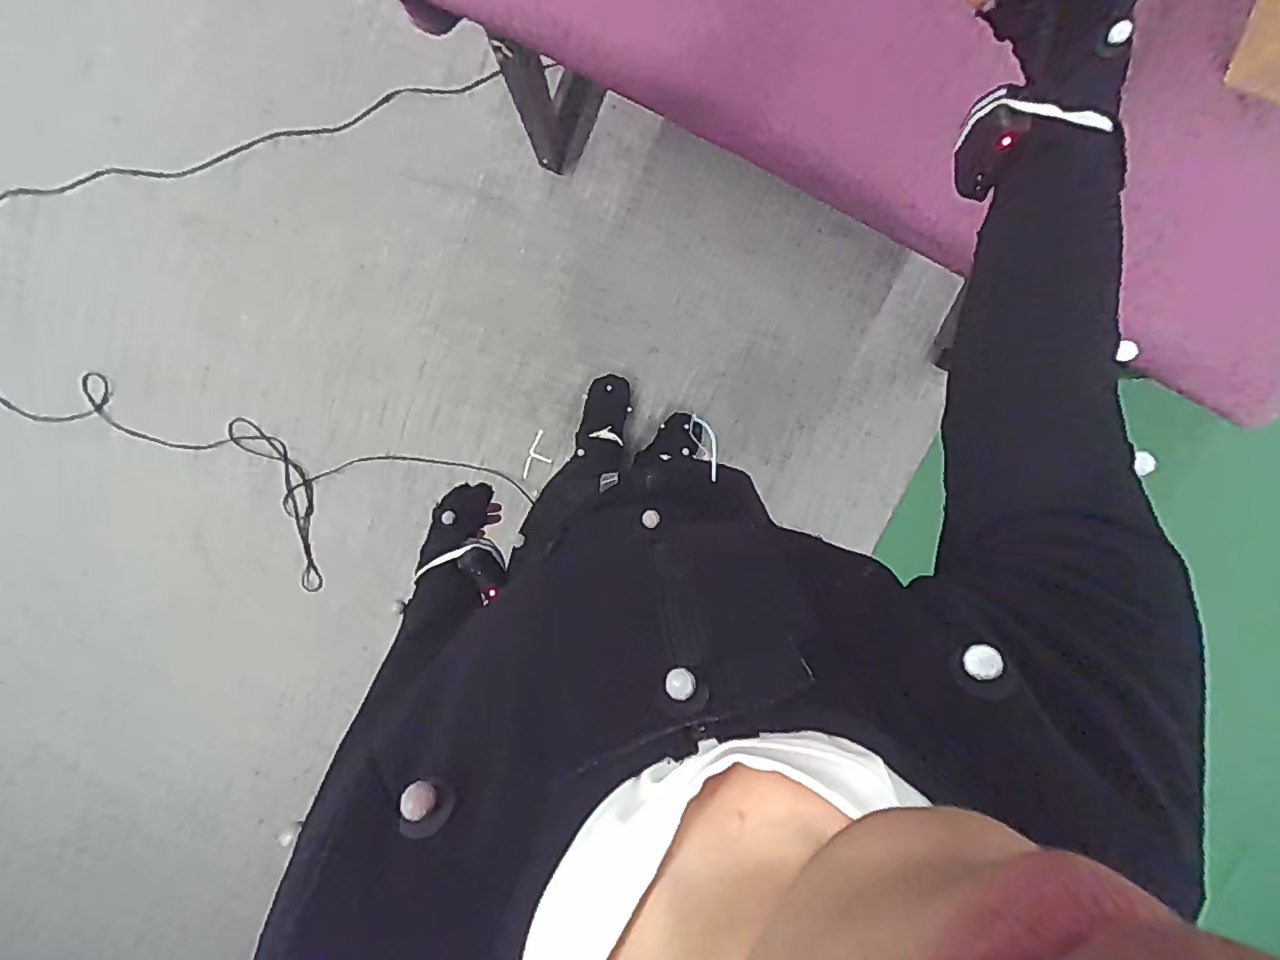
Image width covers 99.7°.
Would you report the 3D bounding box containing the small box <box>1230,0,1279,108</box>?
[{"bbox_3d":[0.801,-0.510,0.566,0.168,0.176,0.179,14,100,-5],"label":"small box"}]
